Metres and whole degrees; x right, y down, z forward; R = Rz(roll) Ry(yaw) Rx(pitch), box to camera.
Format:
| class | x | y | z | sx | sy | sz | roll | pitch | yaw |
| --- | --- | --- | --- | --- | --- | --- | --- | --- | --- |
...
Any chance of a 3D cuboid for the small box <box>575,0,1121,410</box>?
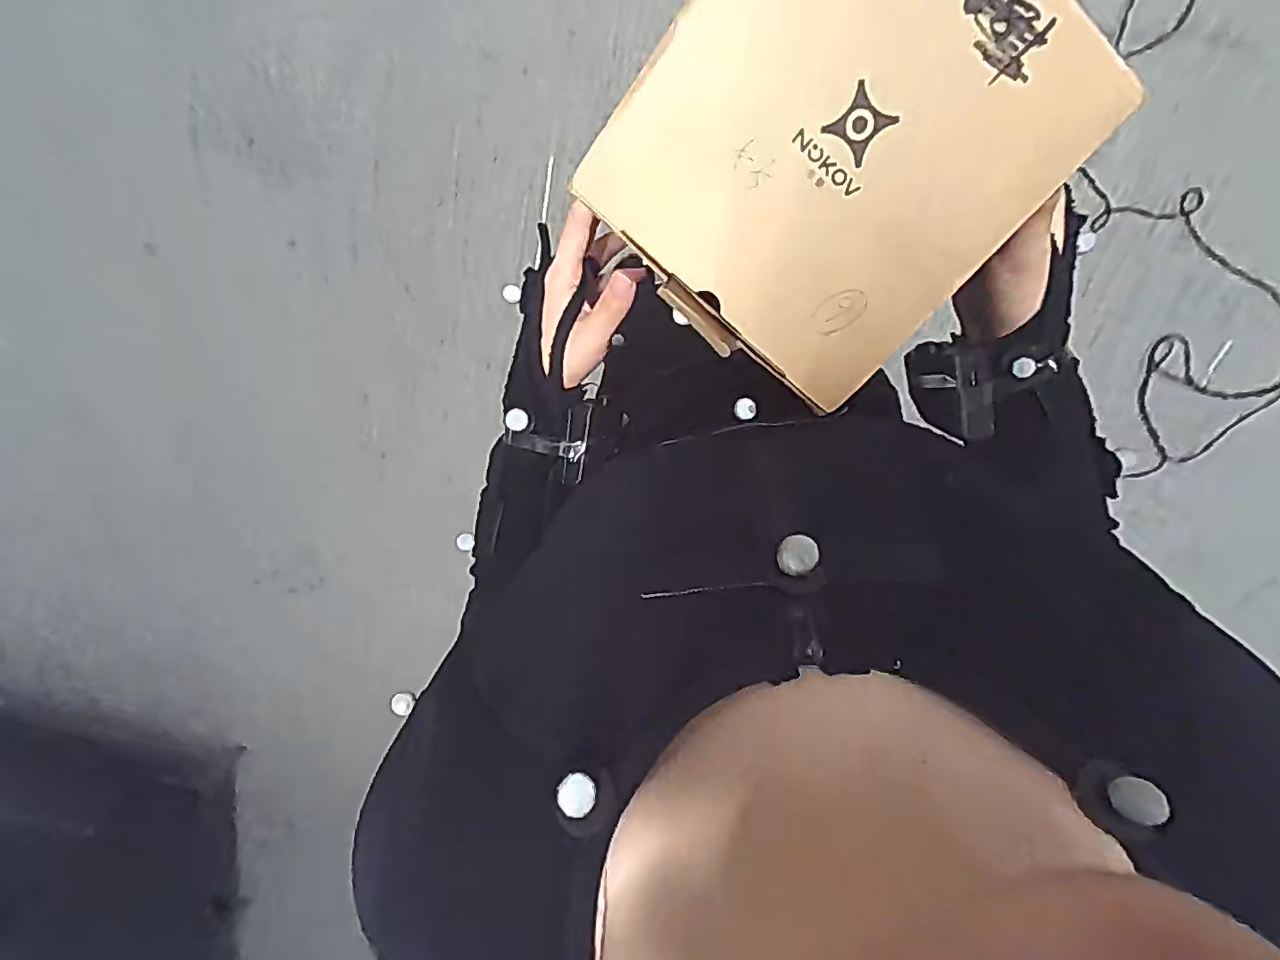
| class | x | y | z | sx | sy | sz | roll | pitch | yaw |
| --- | --- | --- | --- | --- | --- | --- | --- | --- | --- |
| small box | 0.091 | -0.173 | 0.311 | 0.168 | 0.176 | 0.179 | 39 | 110 | -11 |
